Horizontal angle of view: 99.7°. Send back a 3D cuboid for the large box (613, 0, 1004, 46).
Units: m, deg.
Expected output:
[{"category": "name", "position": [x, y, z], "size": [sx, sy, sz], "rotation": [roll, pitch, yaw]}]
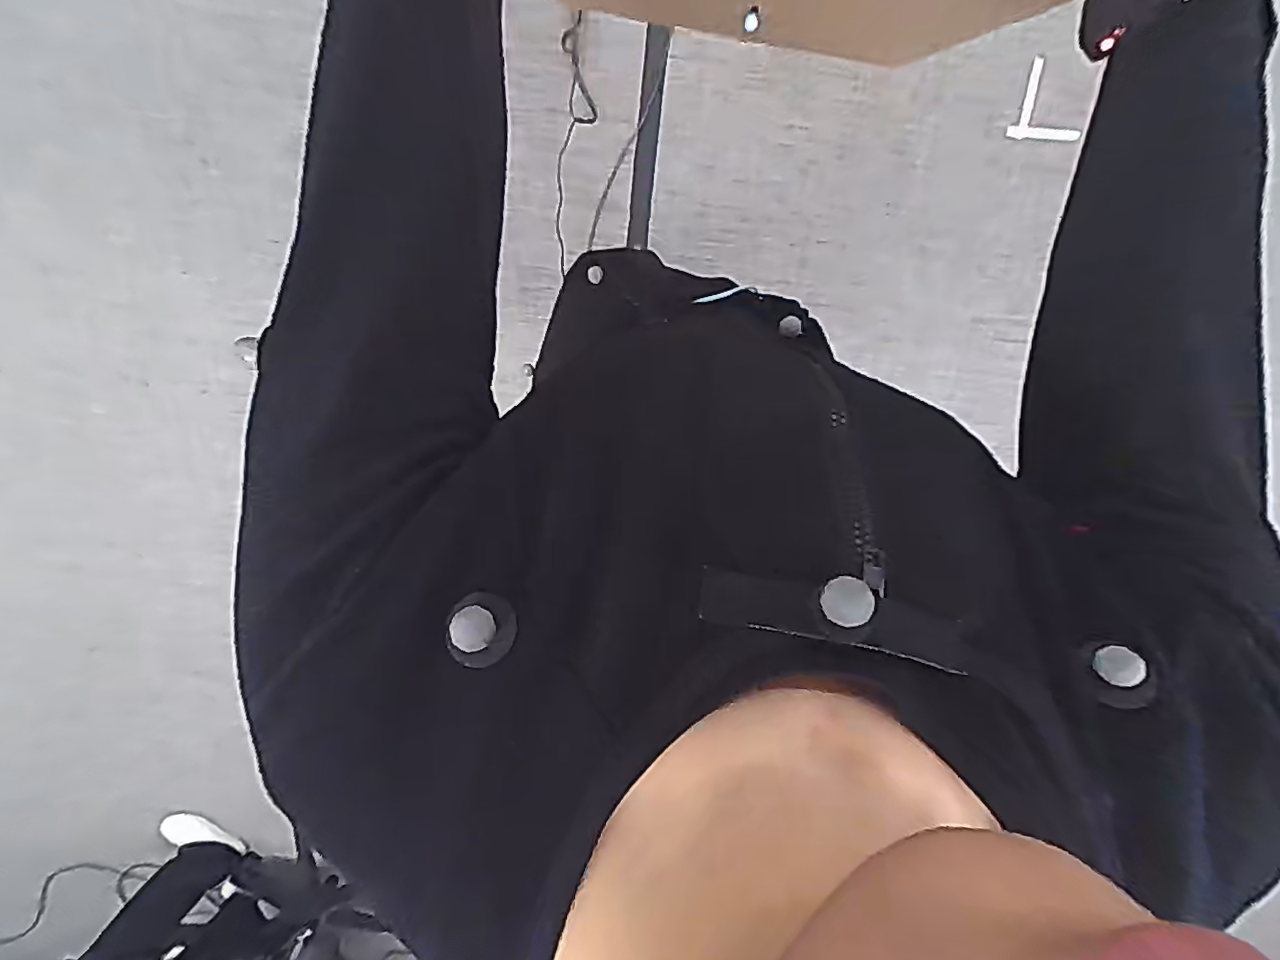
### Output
[{"category": "large box", "position": [0.127, -0.572, 0.409], "size": [0.408, 0.320, 0.320], "rotation": [8, 119, -3]}]
